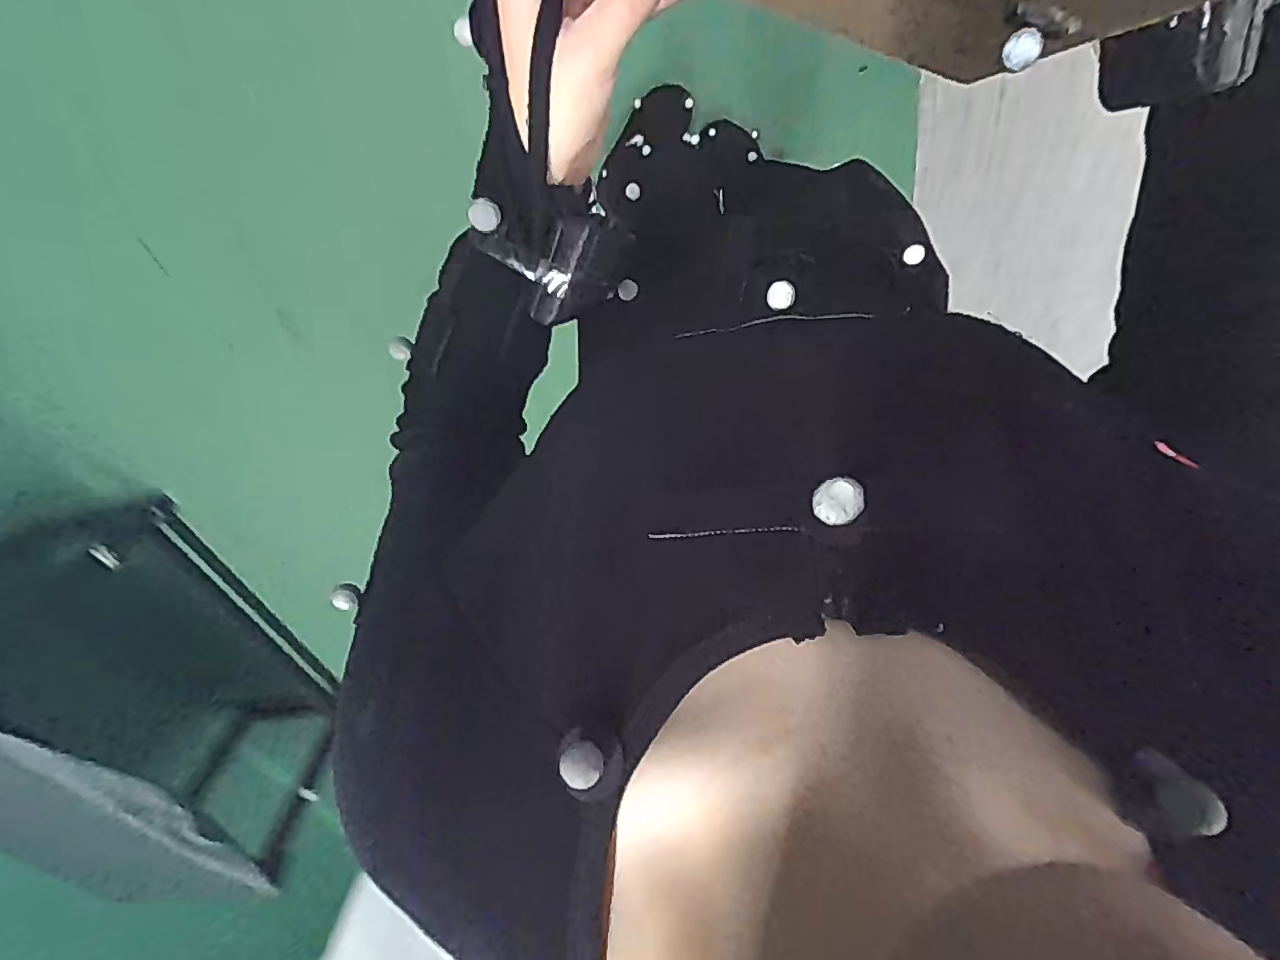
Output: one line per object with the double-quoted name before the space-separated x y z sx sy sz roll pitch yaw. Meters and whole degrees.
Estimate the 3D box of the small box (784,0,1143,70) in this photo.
"small box" 0.104 -0.263 0.155 0.176 0.168 0.179 18 119 -5
